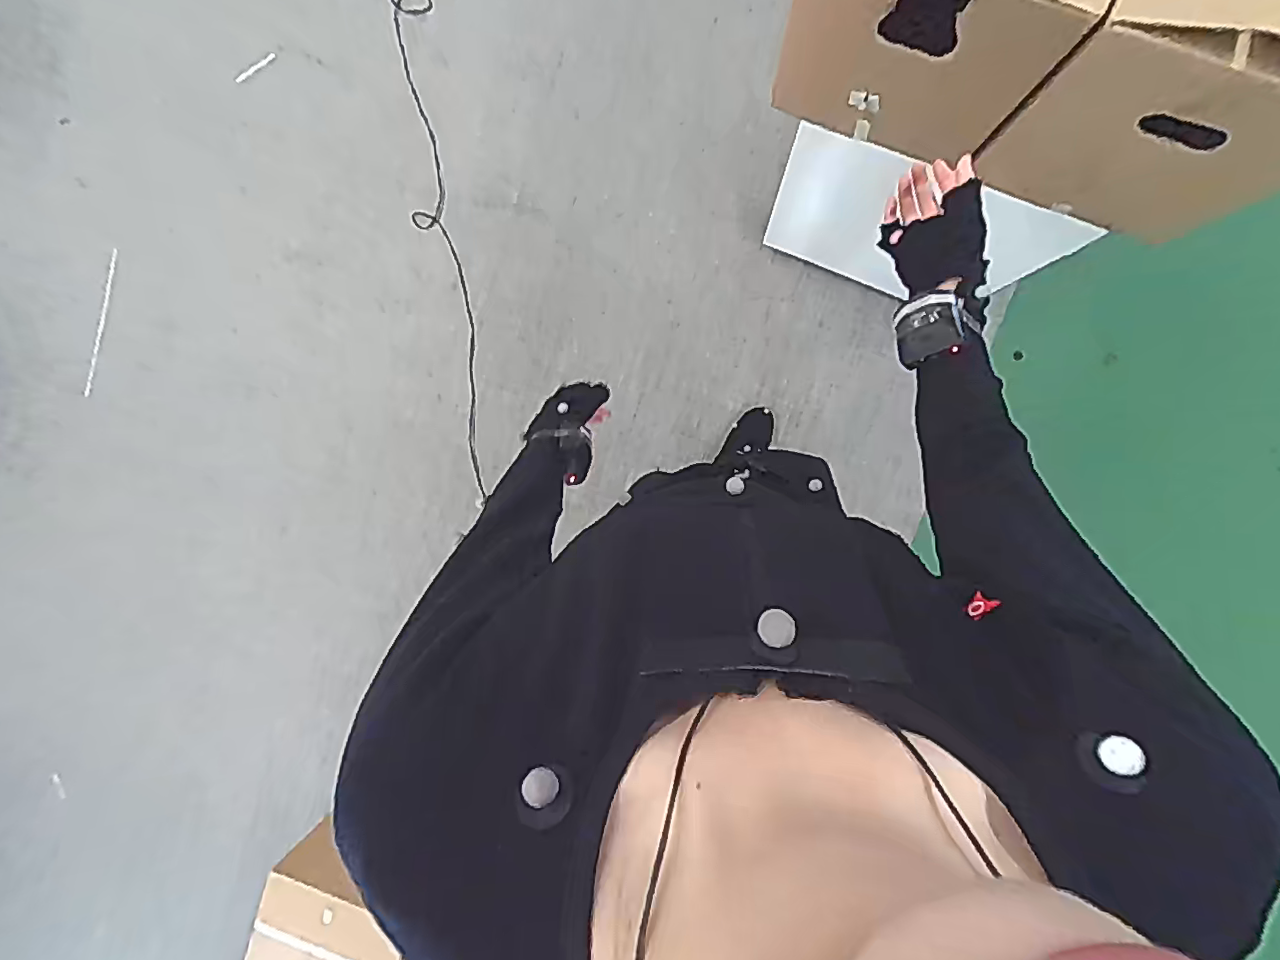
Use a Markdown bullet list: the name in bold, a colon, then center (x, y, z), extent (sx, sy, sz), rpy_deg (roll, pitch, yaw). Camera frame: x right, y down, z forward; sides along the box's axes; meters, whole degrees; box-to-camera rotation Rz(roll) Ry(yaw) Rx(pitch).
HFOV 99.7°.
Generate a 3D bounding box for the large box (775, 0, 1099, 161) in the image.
- **large box**: center (0.400, -0.711, 0.675), extent (0.320, 0.320, 0.408), rpy_deg (23, 95, 5)
